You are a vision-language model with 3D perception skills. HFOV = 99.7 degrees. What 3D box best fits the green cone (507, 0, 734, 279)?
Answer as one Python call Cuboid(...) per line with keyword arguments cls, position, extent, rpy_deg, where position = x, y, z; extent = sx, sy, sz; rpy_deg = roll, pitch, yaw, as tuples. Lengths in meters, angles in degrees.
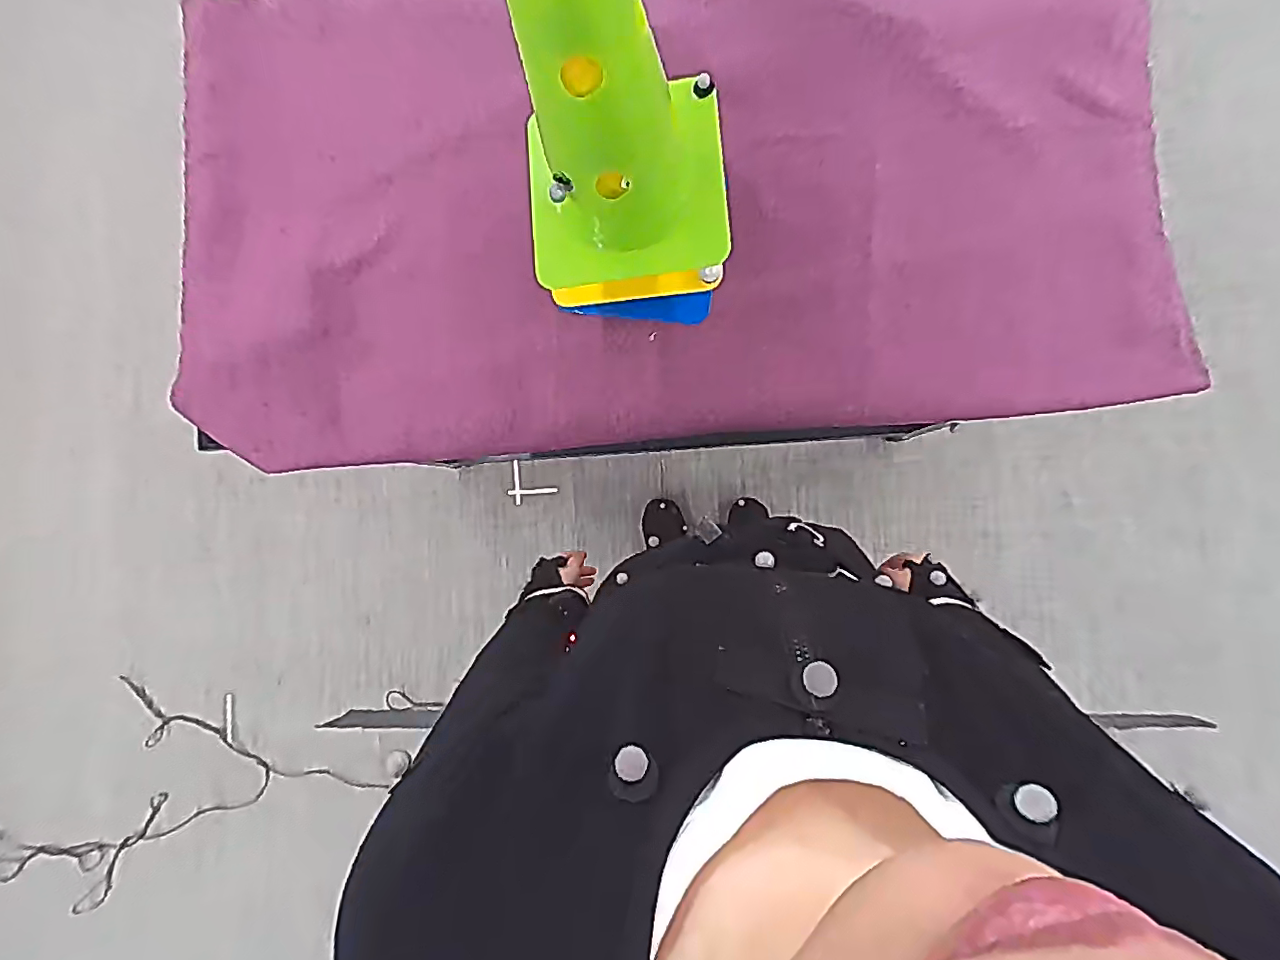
Cuboid(cls="green cone", position=(-0.042, -0.318, 0.371), extent=(0.200, 0.368, 0.202), rpy_deg=(-6, 86, 9))
